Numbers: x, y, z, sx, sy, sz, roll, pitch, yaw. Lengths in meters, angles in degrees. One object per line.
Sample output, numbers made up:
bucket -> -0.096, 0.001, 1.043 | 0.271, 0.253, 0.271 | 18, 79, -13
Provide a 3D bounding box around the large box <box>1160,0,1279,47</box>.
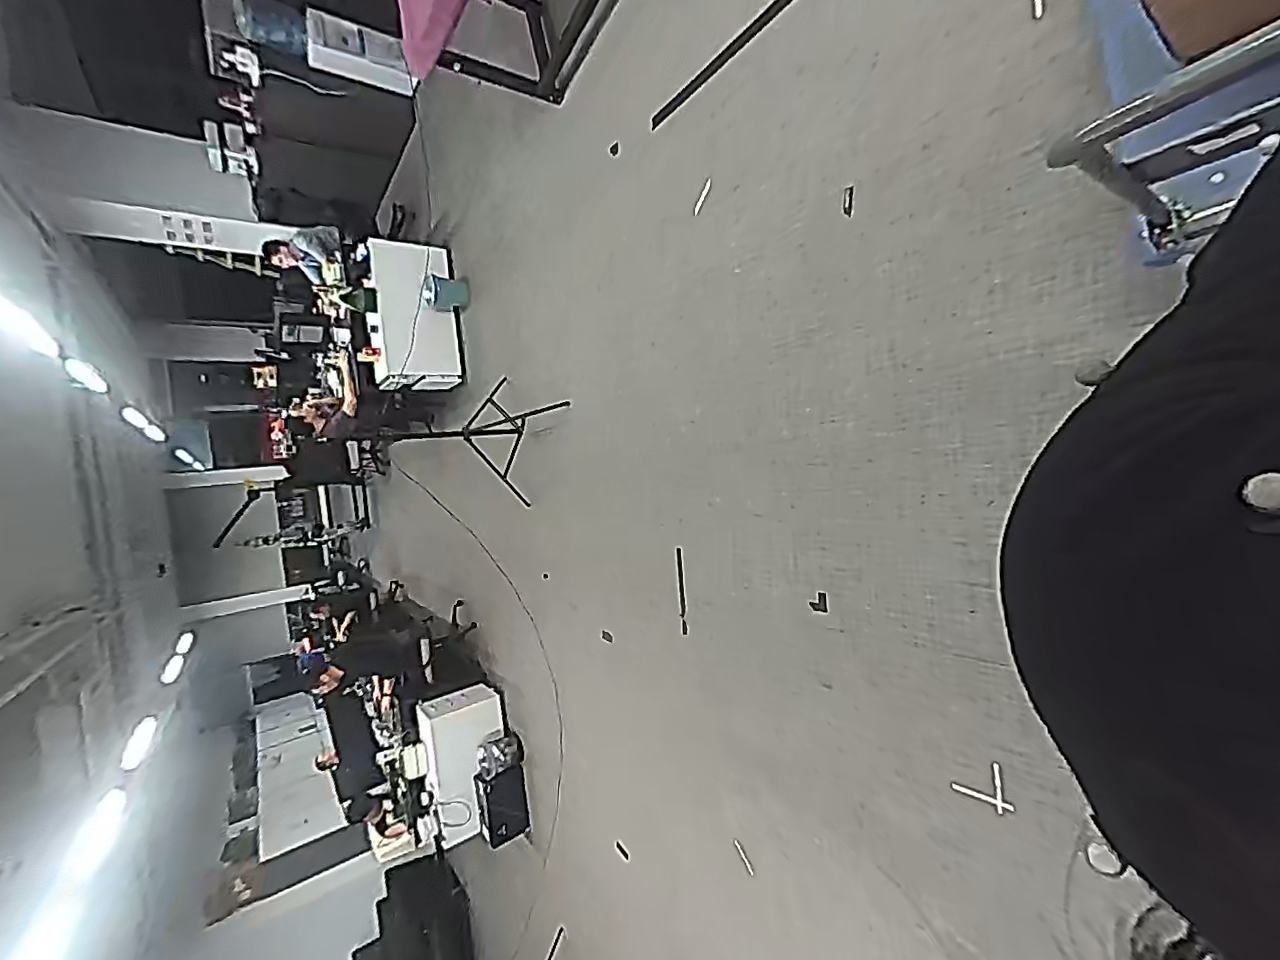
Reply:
large box -> 0.903, -0.868, 0.661 | 0.408, 0.320, 0.320 | -7, 89, 55
